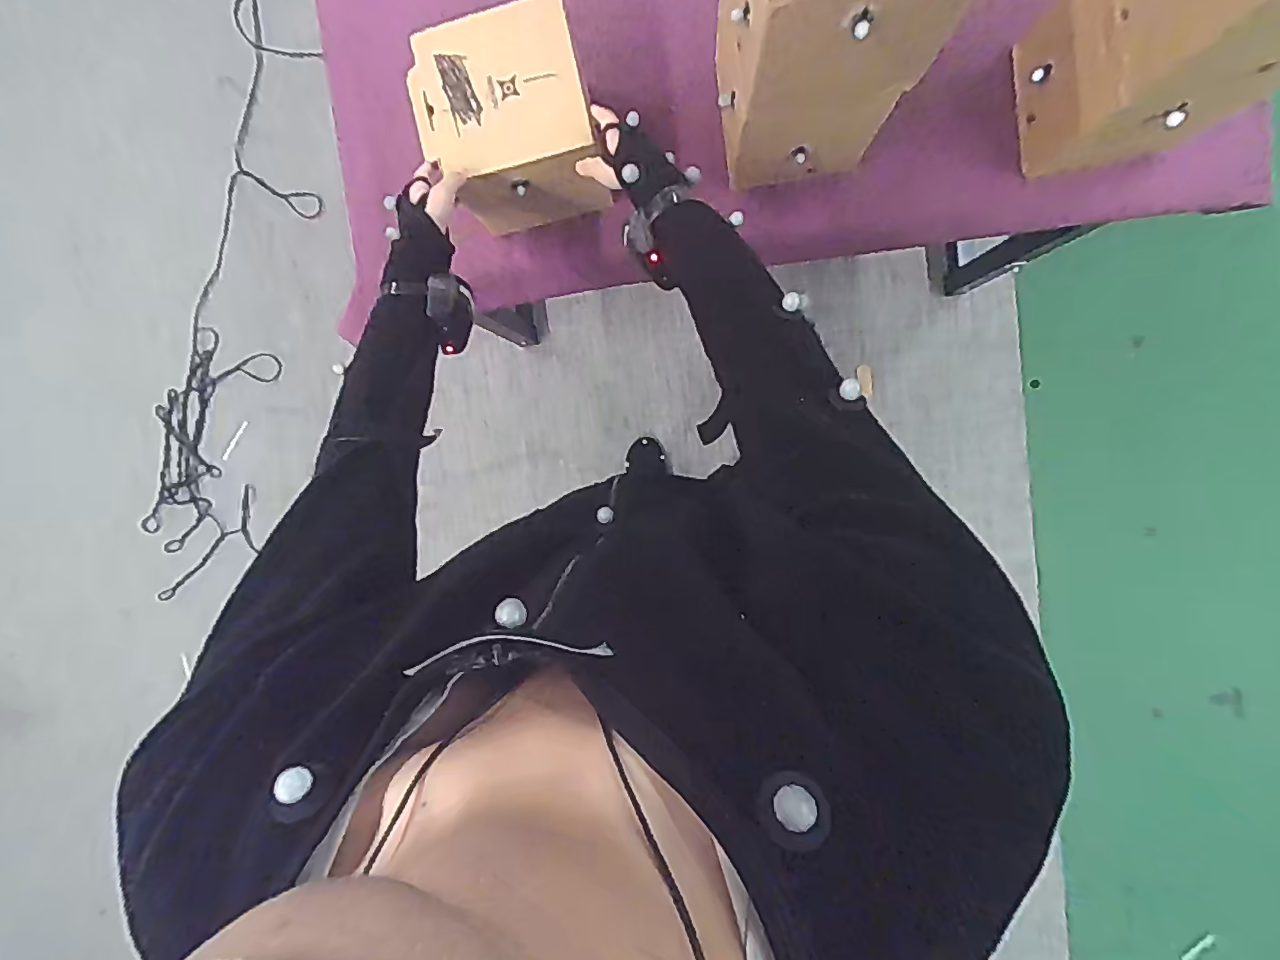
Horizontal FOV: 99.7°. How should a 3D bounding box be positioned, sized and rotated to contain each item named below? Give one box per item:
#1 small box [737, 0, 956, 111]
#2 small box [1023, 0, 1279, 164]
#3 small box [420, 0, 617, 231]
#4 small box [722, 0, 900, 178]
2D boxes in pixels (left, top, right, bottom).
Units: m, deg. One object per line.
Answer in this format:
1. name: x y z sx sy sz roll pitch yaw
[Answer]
1. small box: 0.178 -0.464 0.476 0.179 0.176 0.168 -7 95 7
2. small box: 0.568 -0.484 0.597 0.179 0.176 0.168 -8 96 8
3. small box: -0.139 -0.437 0.678 0.179 0.176 0.168 -12 95 6
4. small box: 0.189 -0.483 0.638 0.168 0.176 0.179 -7 94 7
